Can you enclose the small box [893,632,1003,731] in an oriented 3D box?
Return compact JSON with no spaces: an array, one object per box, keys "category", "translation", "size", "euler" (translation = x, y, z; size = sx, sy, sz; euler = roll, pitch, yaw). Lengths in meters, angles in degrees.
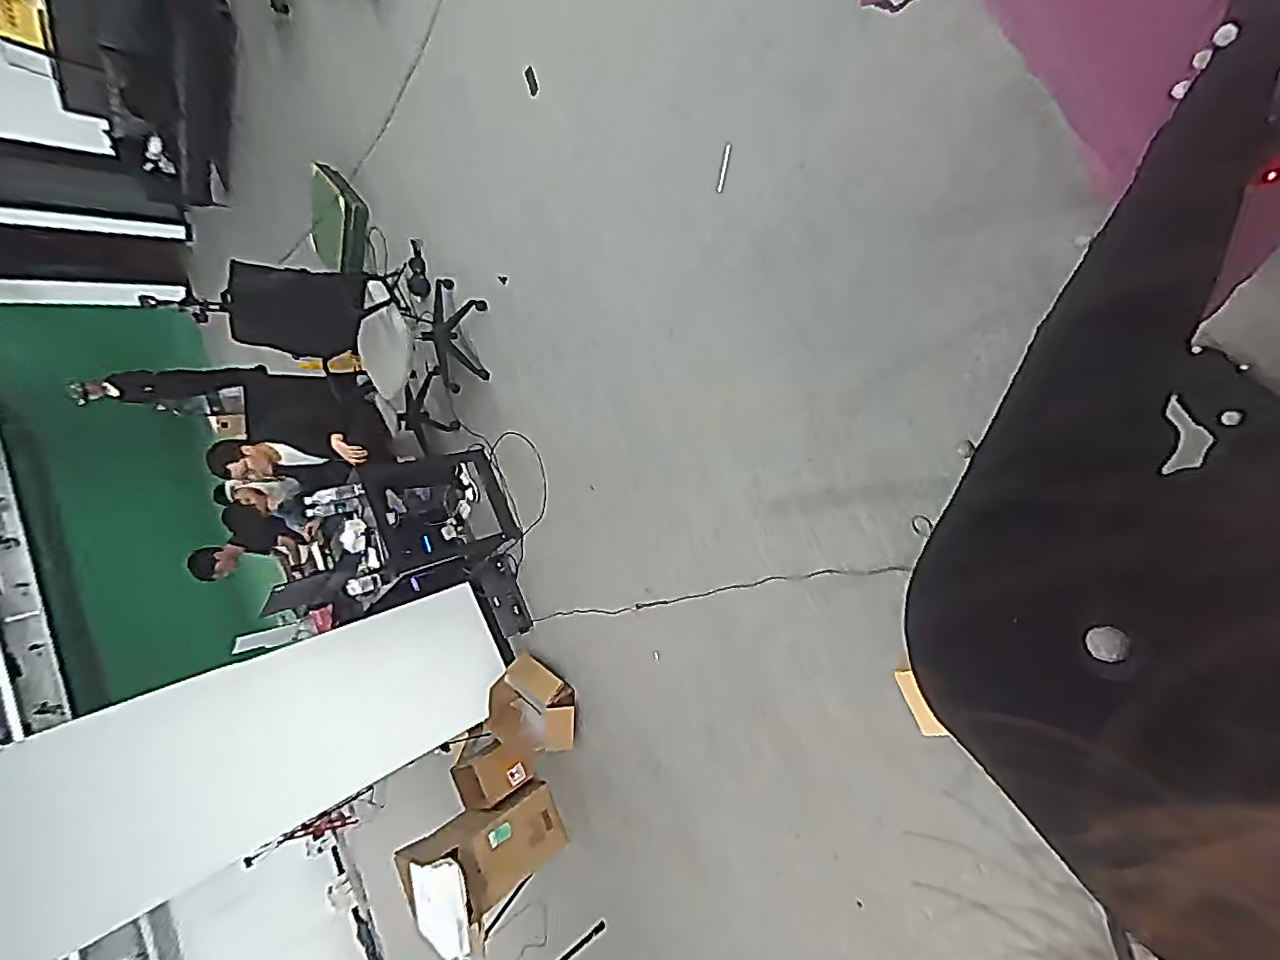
[{"category":"small box","translation":[0.793,0.516,1.386],"size":[0.168,0.176,0.179],"euler":[-32,80,45]}]
